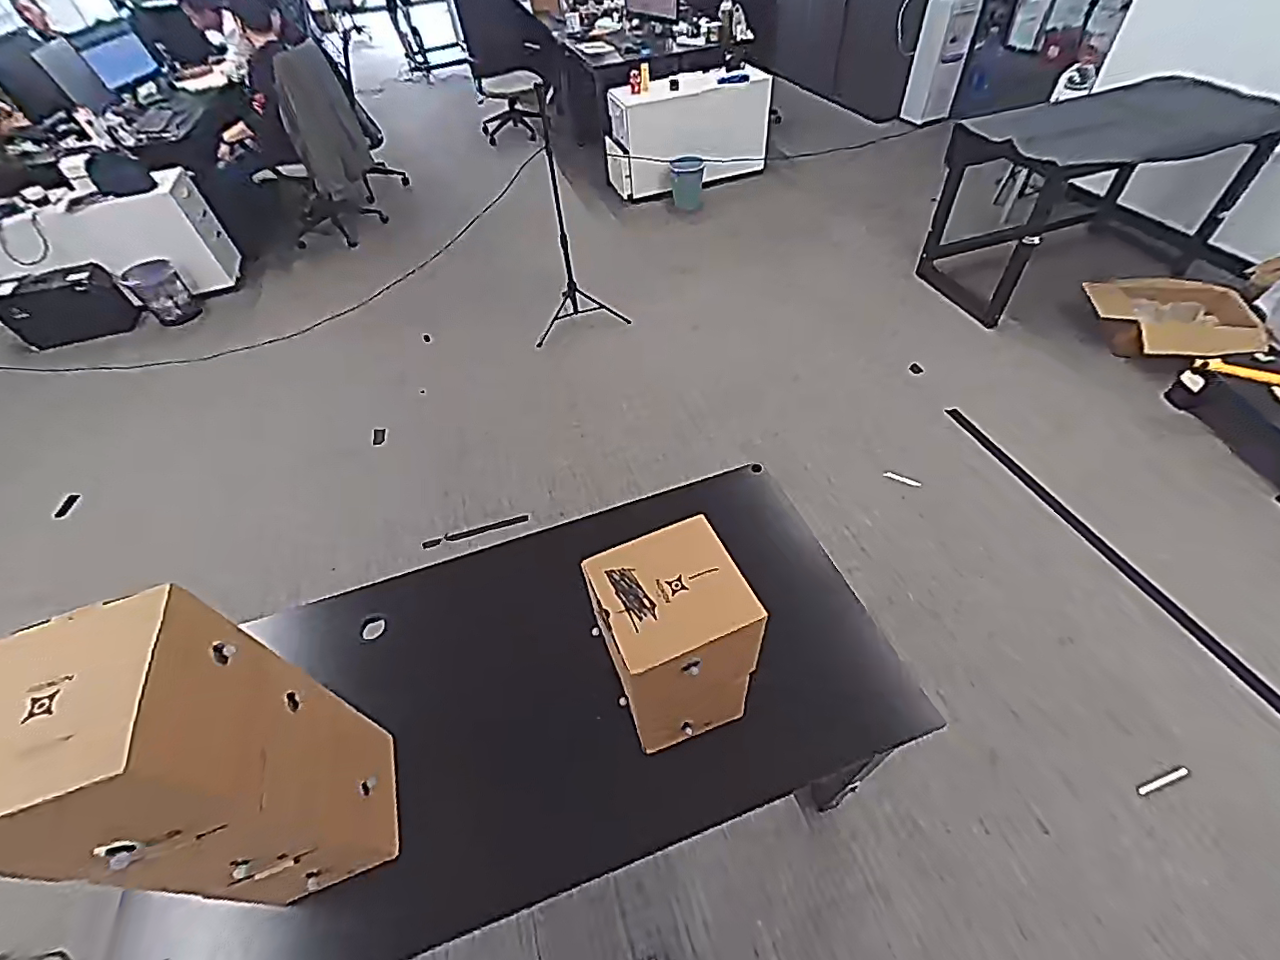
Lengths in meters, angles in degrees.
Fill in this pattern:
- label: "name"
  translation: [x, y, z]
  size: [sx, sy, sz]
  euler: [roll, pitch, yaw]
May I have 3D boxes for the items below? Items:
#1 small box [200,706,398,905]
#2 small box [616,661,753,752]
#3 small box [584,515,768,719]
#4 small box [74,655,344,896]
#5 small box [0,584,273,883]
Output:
- label: "small box"
  translation: [-0.449, 0.446, 0.741]
  size: [0.168, 0.176, 0.179]
  euler: [-18, 51, -11]
- label: "small box"
  translation: [0.055, 0.284, 0.834]
  size: [0.168, 0.176, 0.179]
  euler: [-18, 50, -10]
- label: "small box"
  translation: [0.044, 0.182, 0.706]
  size: [0.179, 0.176, 0.168]
  euler: [-20, 51, -12]
- label: "small box"
  translation: [-0.461, 0.338, 0.618]
  size: [0.168, 0.176, 0.179]
  euler: [-18, 50, -10]
- label: "small box"
  translation: [-0.472, 0.231, 0.495]
  size: [0.168, 0.176, 0.179]
  euler: [-19, 51, -9]
